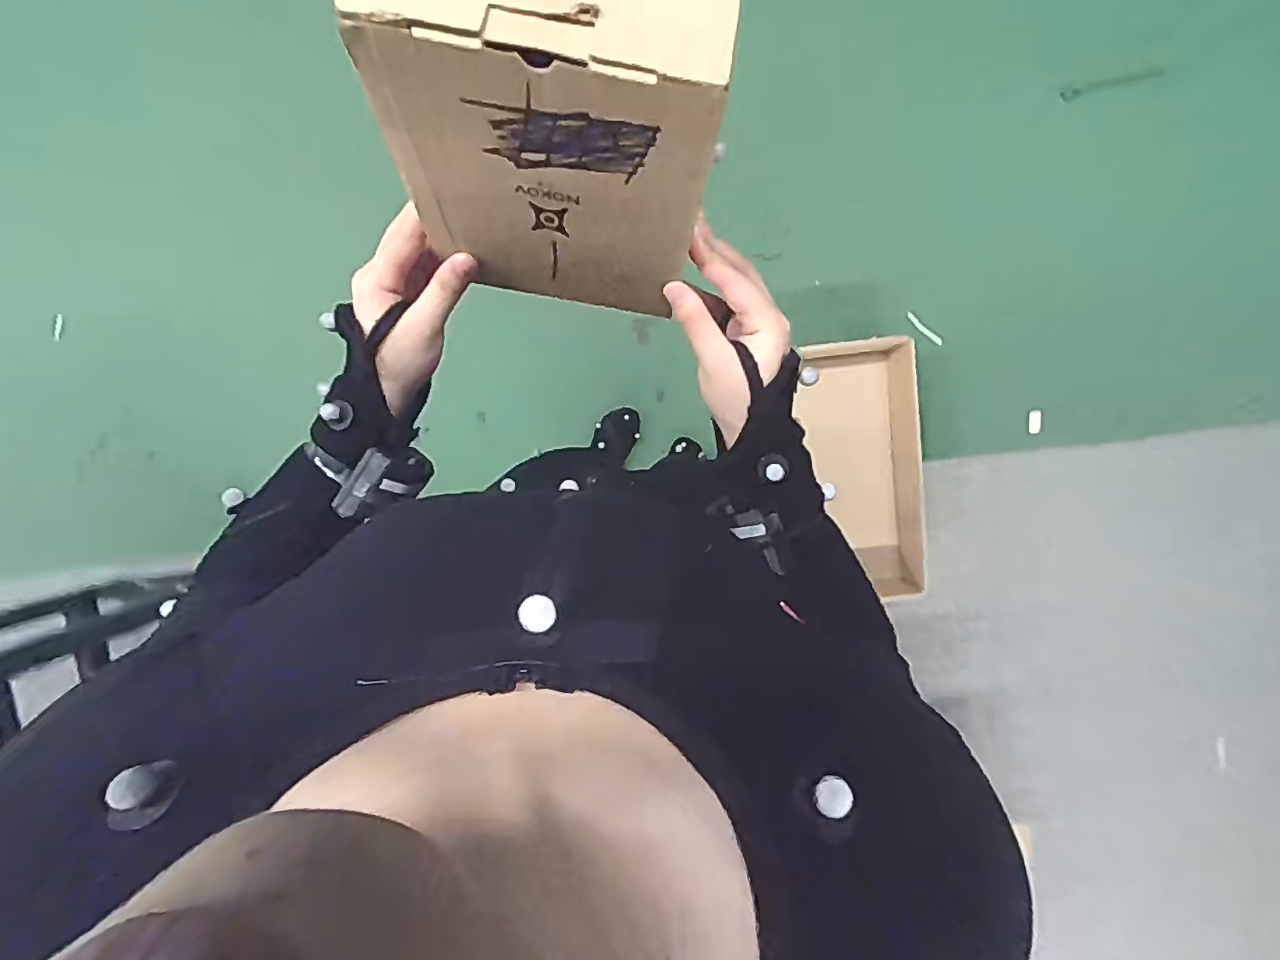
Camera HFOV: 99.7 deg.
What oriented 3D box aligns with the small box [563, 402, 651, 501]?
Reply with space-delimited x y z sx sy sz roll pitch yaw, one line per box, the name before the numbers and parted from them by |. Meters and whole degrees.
small box | -0.079 -0.073 1.369 0.179 0.168 0.176 -19 125 -17
